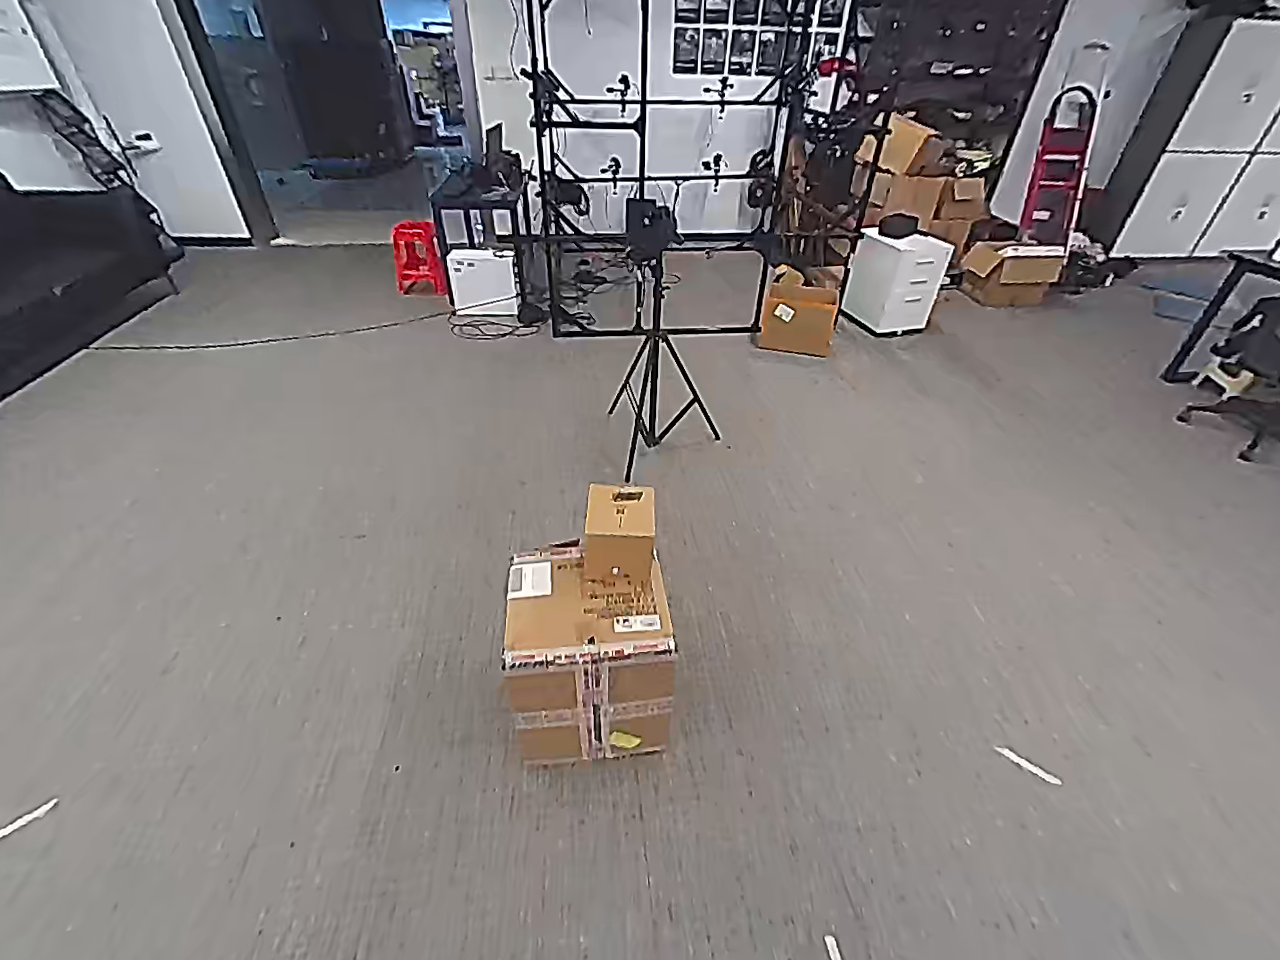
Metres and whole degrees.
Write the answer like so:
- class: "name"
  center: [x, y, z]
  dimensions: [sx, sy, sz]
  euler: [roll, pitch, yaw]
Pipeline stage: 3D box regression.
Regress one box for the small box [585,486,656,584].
- class: "small box"
  center: [-0.048, 0.137, 1.355]
  dimensions: [0.168, 0.176, 0.179]
  euler: [3, 41, -2]
